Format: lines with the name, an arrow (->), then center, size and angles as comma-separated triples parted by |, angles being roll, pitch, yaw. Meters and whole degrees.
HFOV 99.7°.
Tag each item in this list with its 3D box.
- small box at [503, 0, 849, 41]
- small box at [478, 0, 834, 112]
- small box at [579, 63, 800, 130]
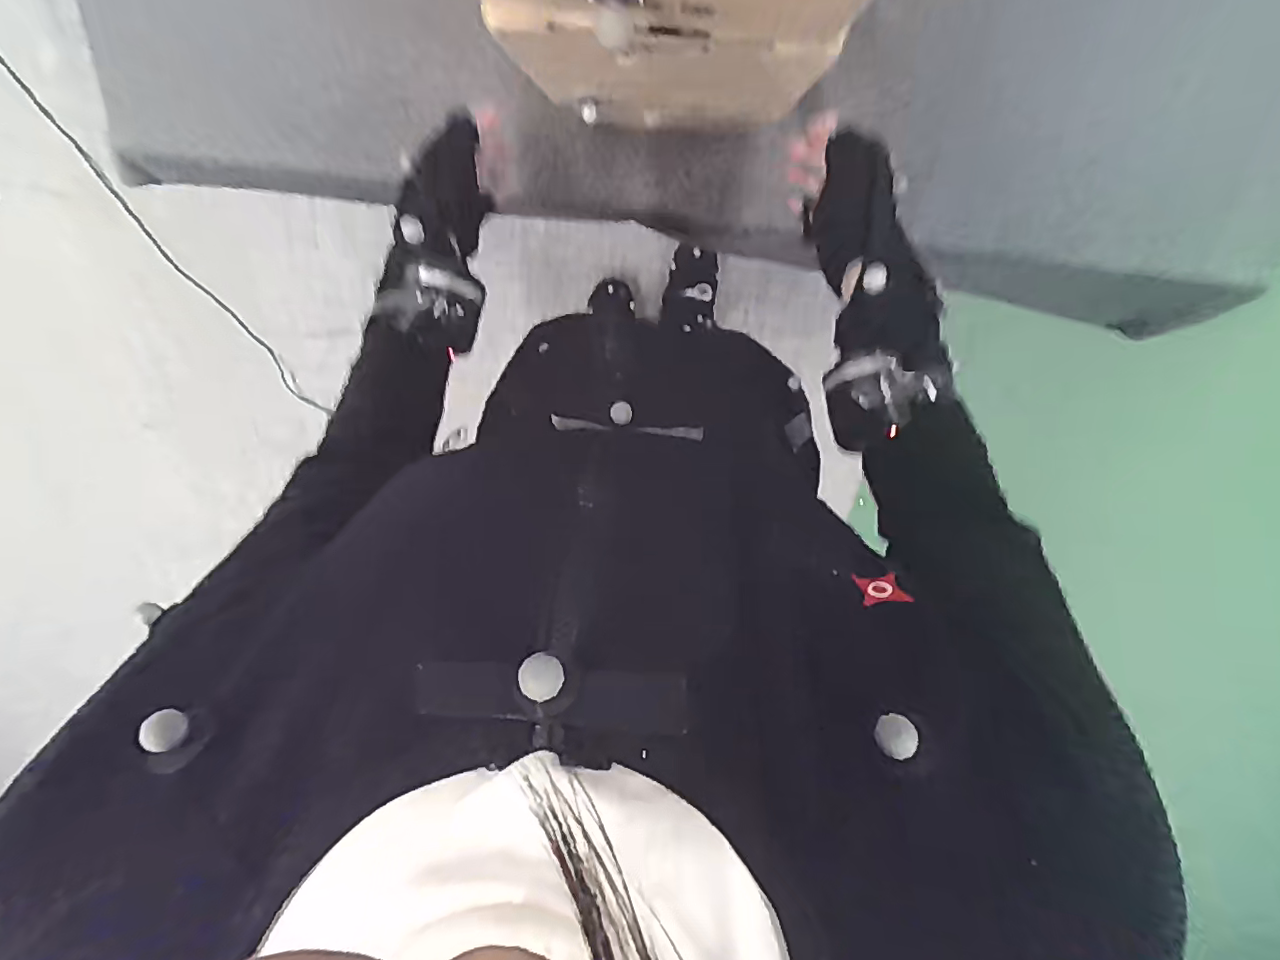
small box -> 0.009, -0.253, 0.135 | 0.168, 0.176, 0.179 | 8, 115, 1
small box -> 0.019, -0.315, 0.284 | 0.168, 0.176, 0.179 | 5, 113, 1
small box -> 0.033, -0.393, 0.431 | 0.179, 0.176, 0.168 | 2, 112, 2
